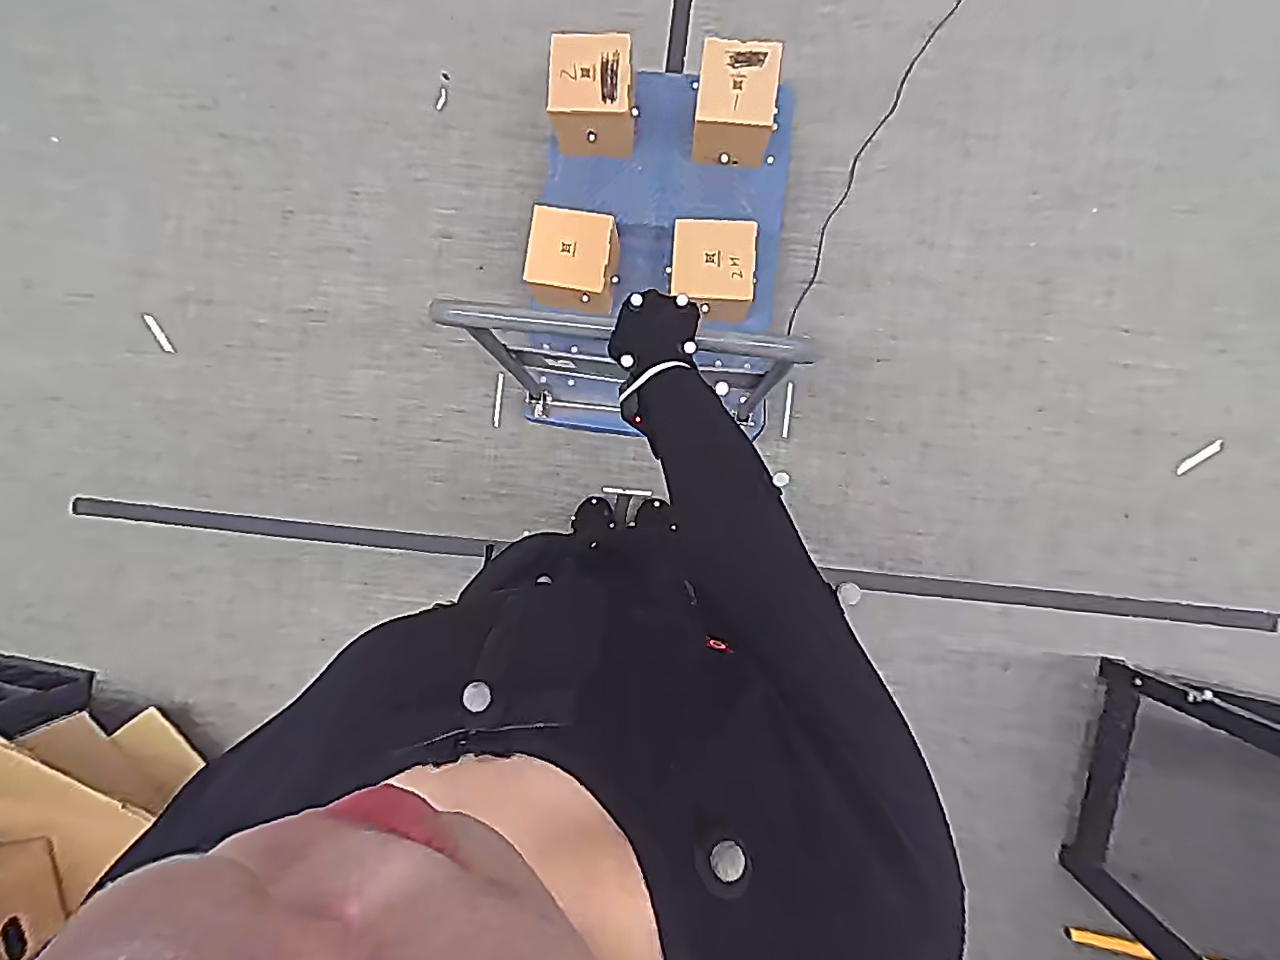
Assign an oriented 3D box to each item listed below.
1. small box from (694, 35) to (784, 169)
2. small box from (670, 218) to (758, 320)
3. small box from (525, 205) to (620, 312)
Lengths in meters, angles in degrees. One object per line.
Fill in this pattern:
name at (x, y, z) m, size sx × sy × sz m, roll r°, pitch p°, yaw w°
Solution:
small box at (0.212, -0.836, 1.209) m, size 0.168 × 0.176 × 0.179 m, roll 7°, pitch 92°, yaw 3°
small box at (0.161, -0.466, 1.216) m, size 0.179 × 0.176 × 0.168 m, roll 4°, pitch 91°, yaw 3°
small box at (-0.147, -0.495, 1.232) m, size 0.179 × 0.176 × 0.168 m, roll 9°, pitch 90°, yaw 1°
